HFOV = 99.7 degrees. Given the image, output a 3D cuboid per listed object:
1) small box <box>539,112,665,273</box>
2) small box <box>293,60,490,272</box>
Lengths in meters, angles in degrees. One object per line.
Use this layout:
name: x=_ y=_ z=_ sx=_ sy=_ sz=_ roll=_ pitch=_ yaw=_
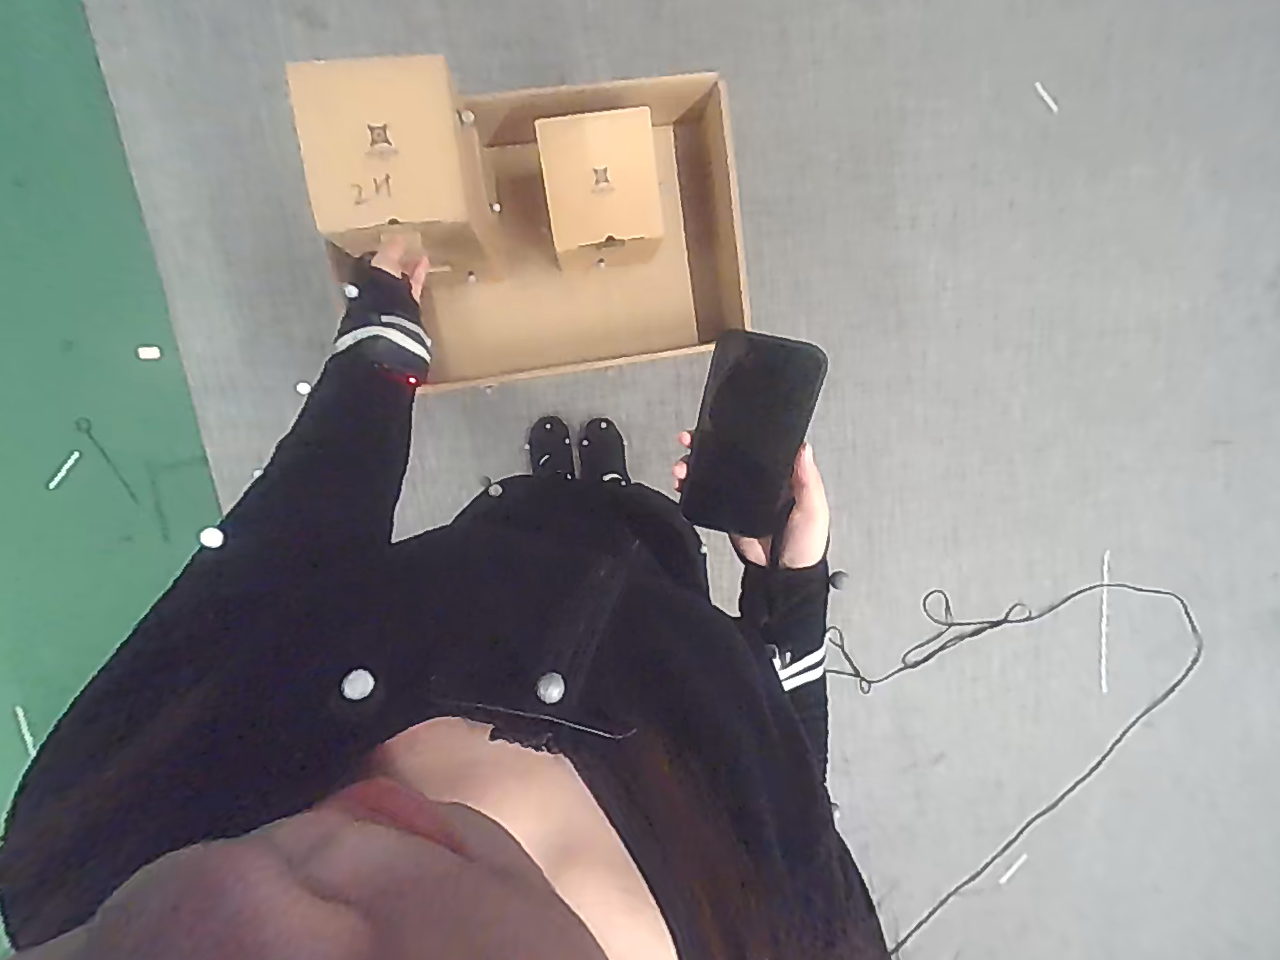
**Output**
small box: x=-0.060 y=-0.441 z=0.854 sx=0.168 sy=0.176 sz=0.179 roll=-9 pitch=102 yaw=-2
small box: x=-0.291 y=-0.374 z=0.672 sx=0.168 sy=0.176 sz=0.179 roll=-6 pitch=98 yaw=-5
